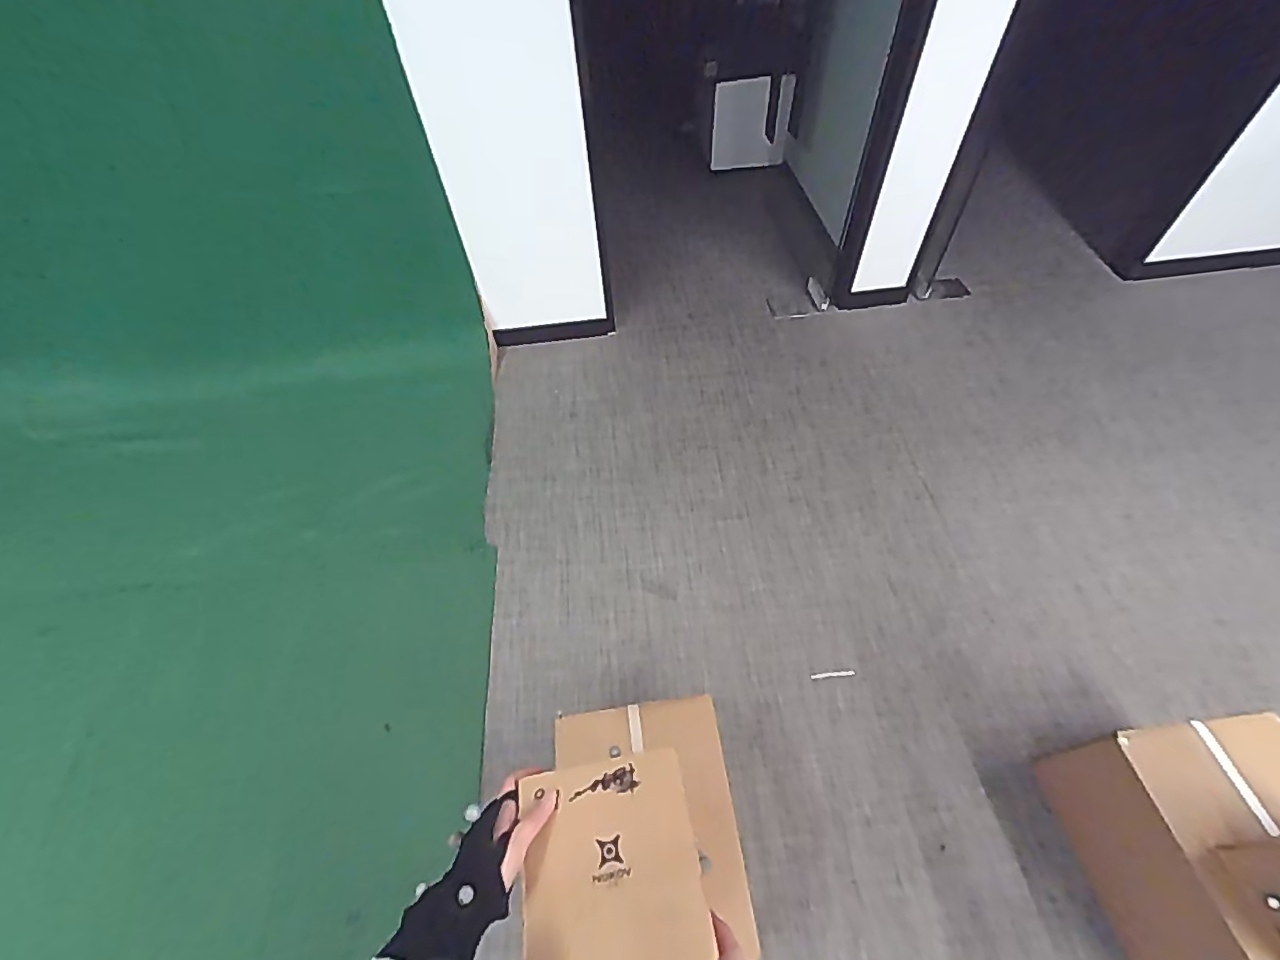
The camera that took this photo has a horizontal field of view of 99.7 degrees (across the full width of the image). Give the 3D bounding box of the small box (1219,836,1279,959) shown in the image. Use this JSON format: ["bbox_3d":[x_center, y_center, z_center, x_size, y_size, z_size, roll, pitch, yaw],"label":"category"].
[{"bbox_3d":[1.017,0.603,0.767,0.179,0.176,0.168,-9,54,-2],"label":"small box"}]

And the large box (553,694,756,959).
[{"bbox_3d":[0.015,0.689,1.063,0.320,0.320,0.408,-7,53,-2],"label":"large box"}]

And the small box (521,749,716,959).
[{"bbox_3d":[-0.022,0.402,0.565,0.168,0.176,0.179,-10,54,-4],"label":"small box"}]
